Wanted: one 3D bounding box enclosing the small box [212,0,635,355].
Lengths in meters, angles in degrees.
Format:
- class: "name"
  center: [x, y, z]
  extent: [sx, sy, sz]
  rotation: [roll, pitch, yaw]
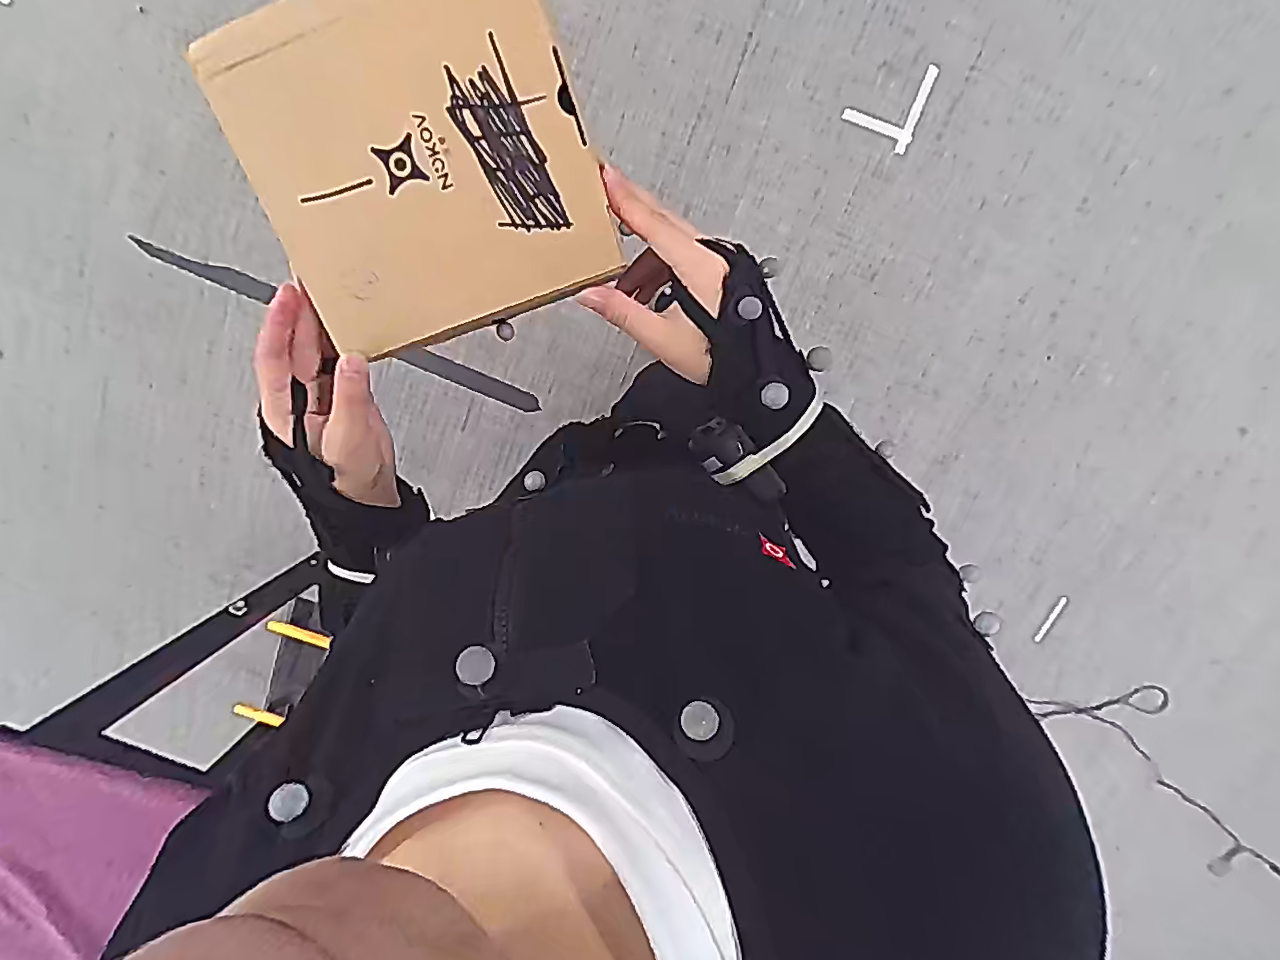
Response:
- class: "small box"
  center: [-0.110, -0.198, 0.362]
  extent: [0.179, 0.176, 0.168]
  rotation: [-17, 108, 6]
